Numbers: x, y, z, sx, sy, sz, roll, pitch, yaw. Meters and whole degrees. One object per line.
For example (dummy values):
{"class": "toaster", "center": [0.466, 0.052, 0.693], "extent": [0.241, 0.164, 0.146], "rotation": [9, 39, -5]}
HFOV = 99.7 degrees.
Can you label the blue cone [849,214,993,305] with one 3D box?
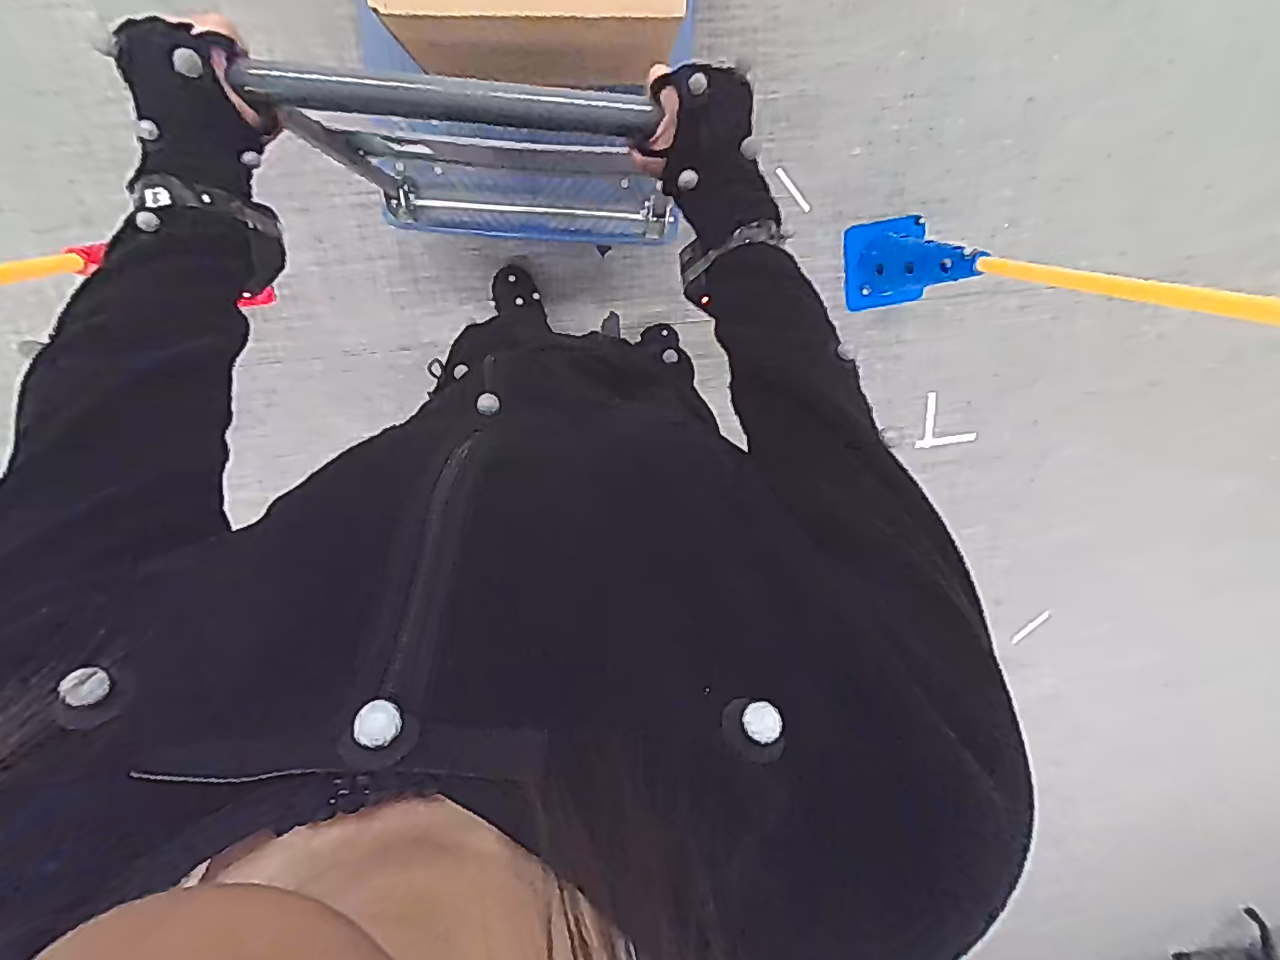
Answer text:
{"class": "blue cone", "center": [0.621, -0.478, 1.171], "extent": [0.193, 0.380, 0.192], "rotation": [-9, 111, -2]}
